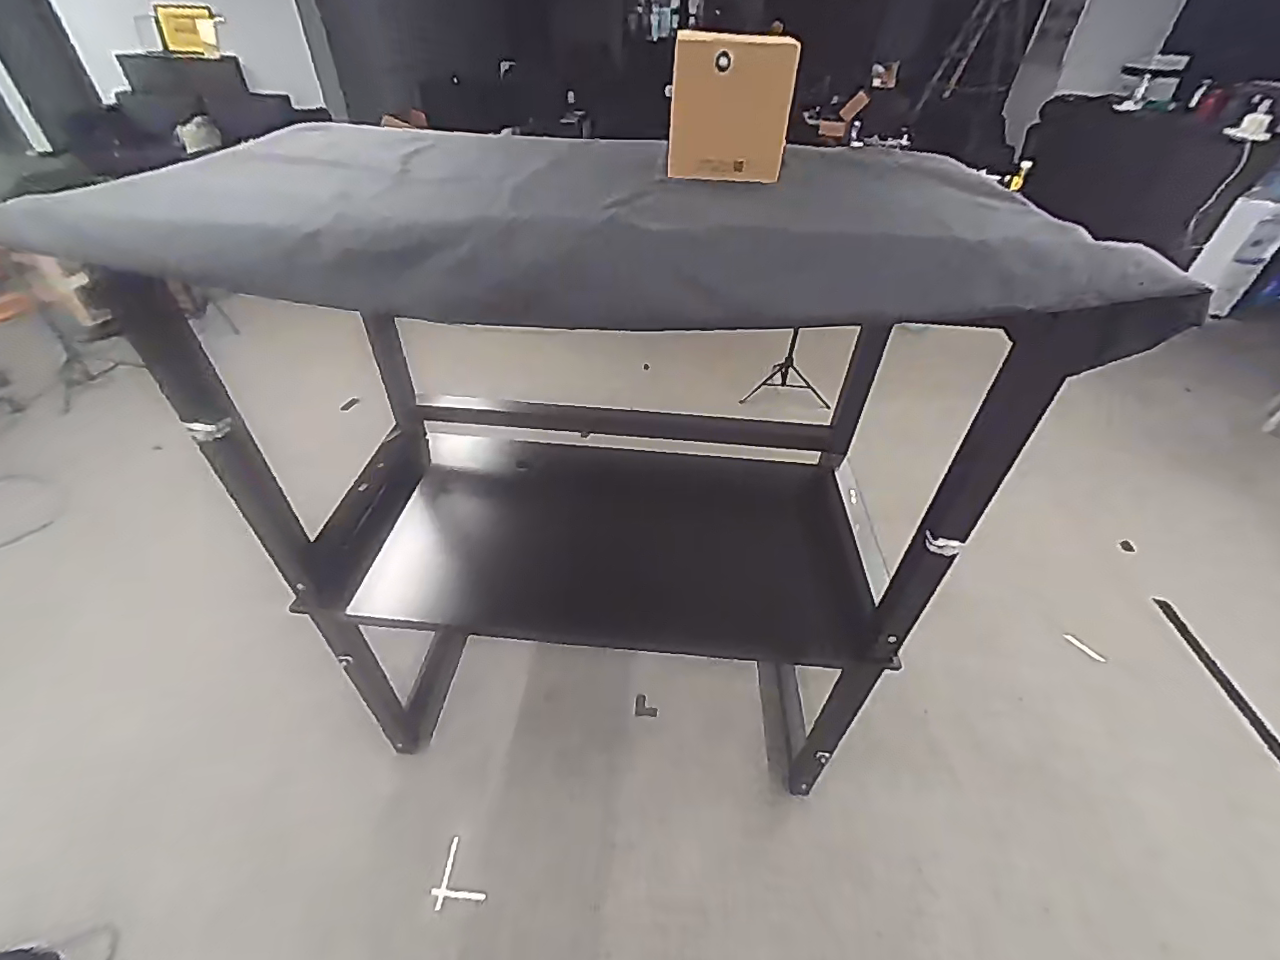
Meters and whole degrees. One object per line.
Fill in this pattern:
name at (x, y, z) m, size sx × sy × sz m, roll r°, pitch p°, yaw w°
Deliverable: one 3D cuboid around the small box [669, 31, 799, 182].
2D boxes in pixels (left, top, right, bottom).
small box at (0.132, -0.574, 0.831) m, size 0.168 × 0.176 × 0.179 m, roll 4°, pitch 40°, yaw 2°
